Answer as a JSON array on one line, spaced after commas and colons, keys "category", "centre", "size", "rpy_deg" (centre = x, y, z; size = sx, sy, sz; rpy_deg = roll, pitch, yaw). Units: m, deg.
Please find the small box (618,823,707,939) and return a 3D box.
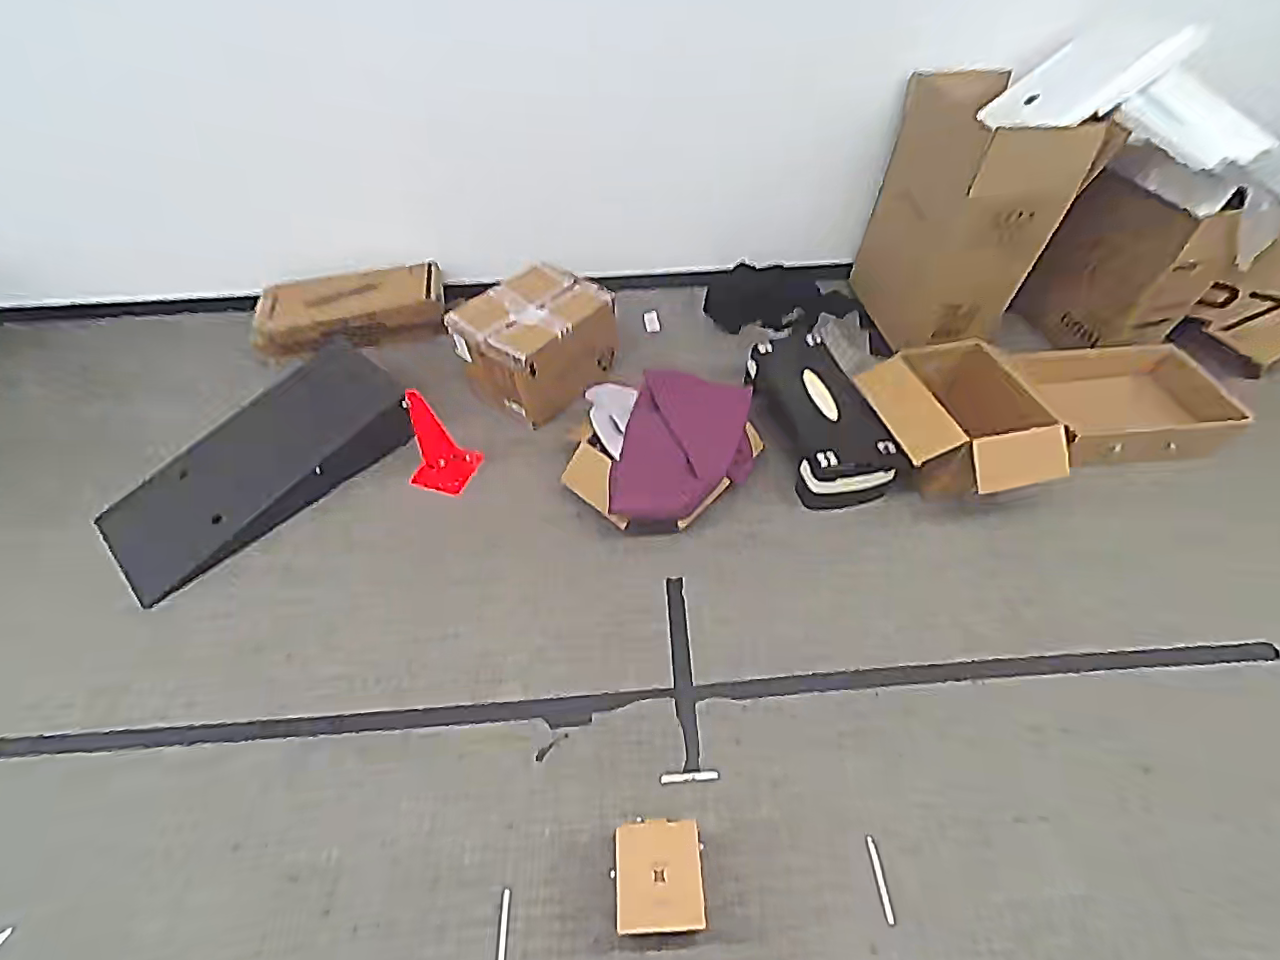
[{"category": "small box", "centre": [0.041, 0.815, 1.098], "size": [0.168, 0.176, 0.179], "rpy_deg": [-4, 52, 0]}]
